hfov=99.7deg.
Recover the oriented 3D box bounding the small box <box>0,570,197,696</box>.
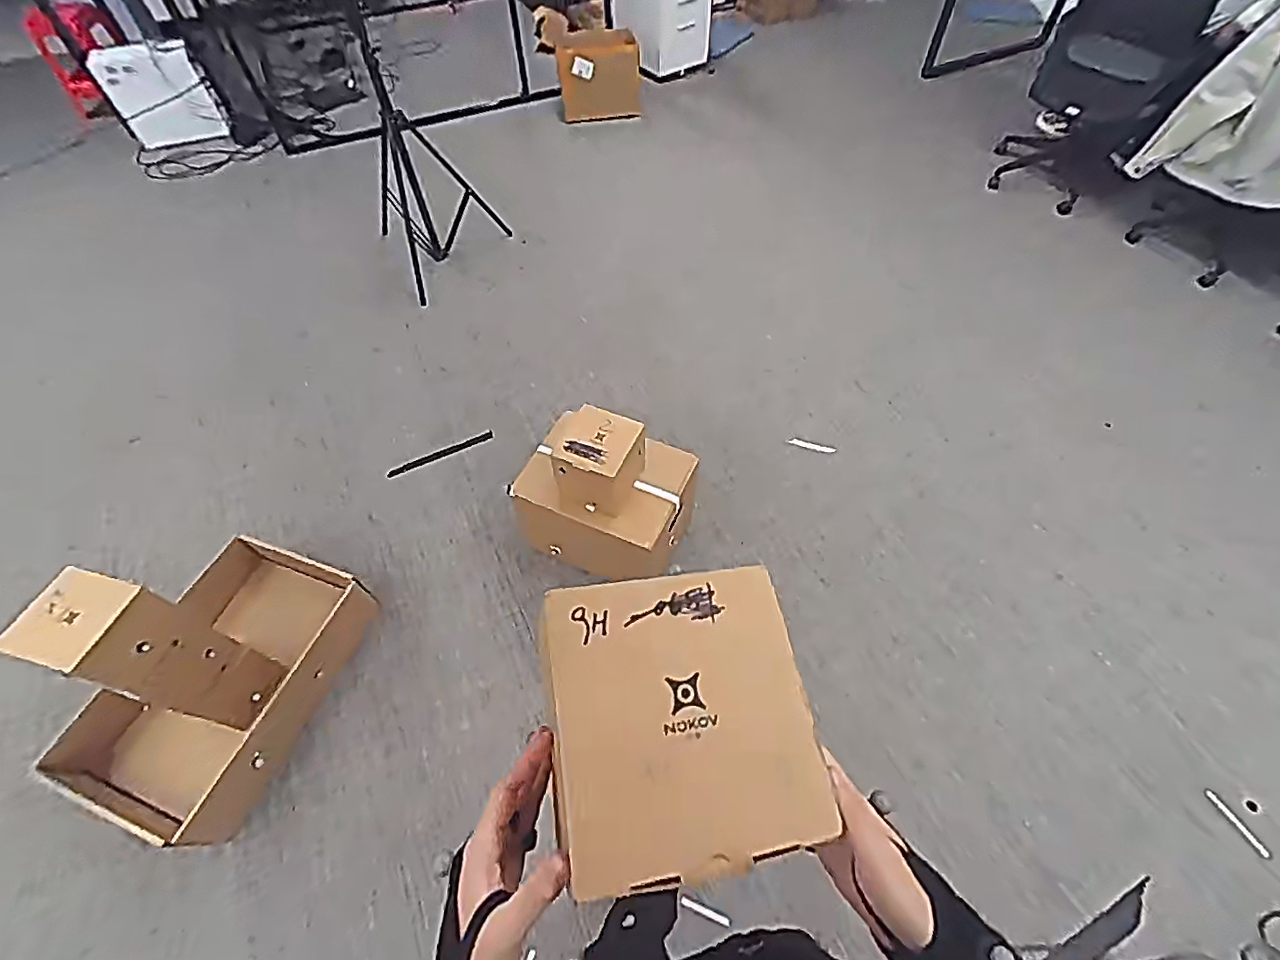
[{"bbox_3d":[-1.021,0.299,1.038,0.179,0.176,0.168,12,55,9],"label":"small box"}]

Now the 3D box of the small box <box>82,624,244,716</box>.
[{"bbox_3d":[-1.022,0.397,1.172,0.179,0.176,0.168,12,56,10],"label":"small box"}]

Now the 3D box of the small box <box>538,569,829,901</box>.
[{"bbox_3d":[0.011,0.182,0.418,0.168,0.176,0.179,-3,65,-15],"label":"small box"}]

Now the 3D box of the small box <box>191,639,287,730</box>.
[{"bbox_3d":[-1.016,0.484,1.308,0.179,0.176,0.168,16,58,11],"label":"small box"}]
